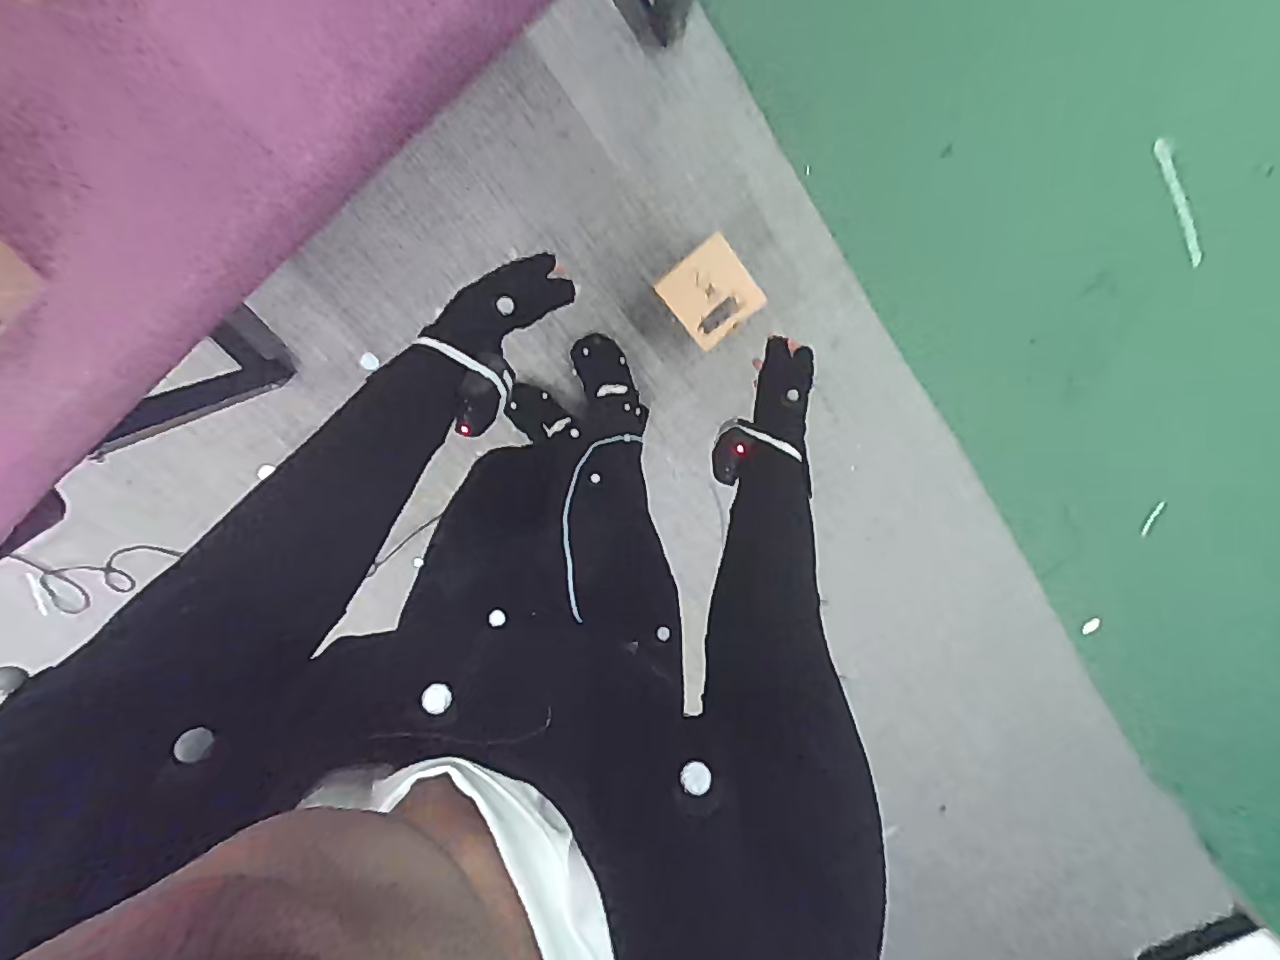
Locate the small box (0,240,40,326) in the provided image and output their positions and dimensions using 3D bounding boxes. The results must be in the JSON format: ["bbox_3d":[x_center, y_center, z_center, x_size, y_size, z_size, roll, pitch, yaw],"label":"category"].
[{"bbox_3d":[-0.695,-0.190,0.444,0.168,0.176,0.179,-32,110,9],"label":"small box"}]
